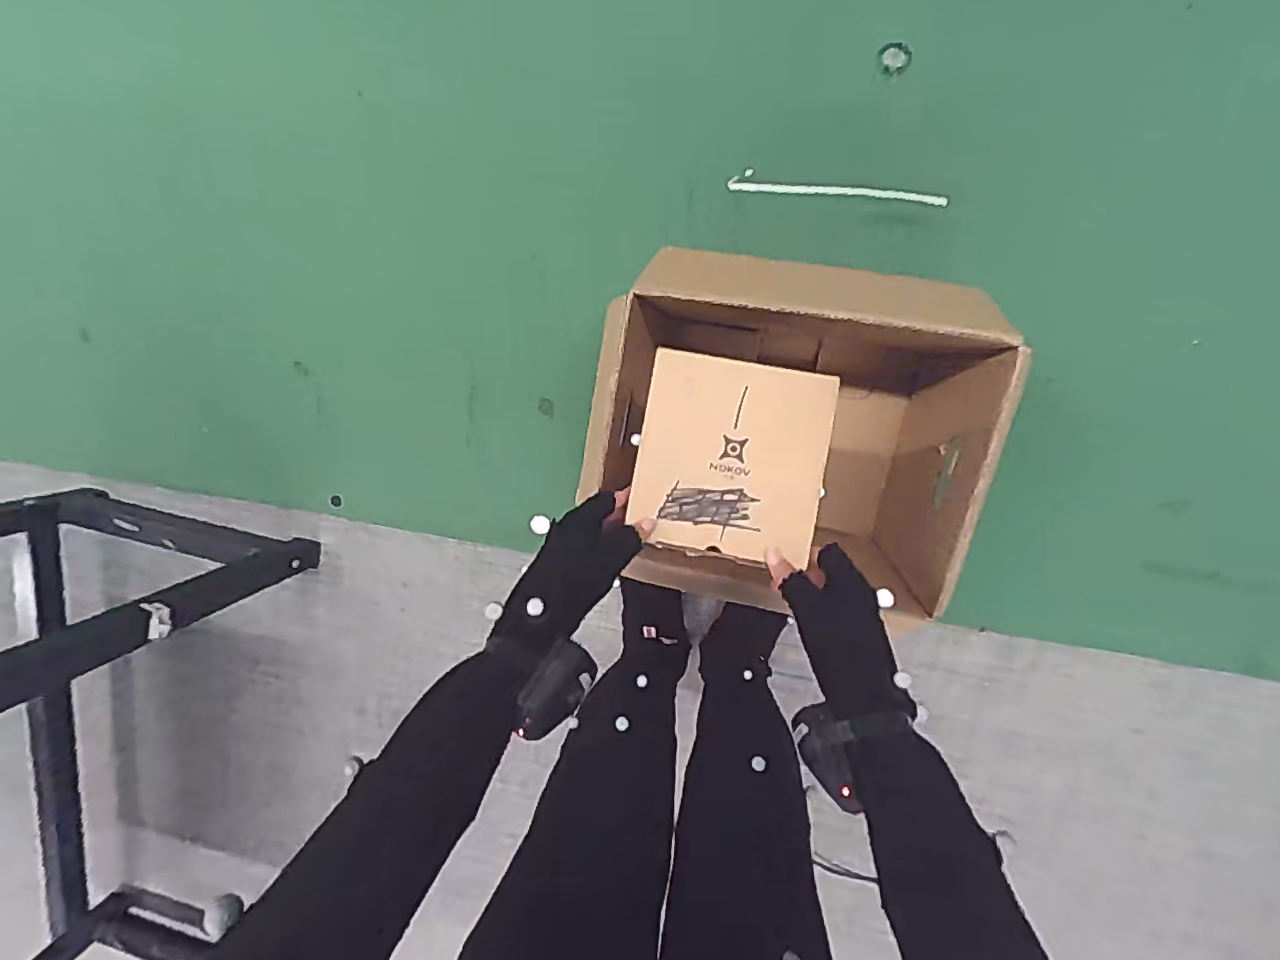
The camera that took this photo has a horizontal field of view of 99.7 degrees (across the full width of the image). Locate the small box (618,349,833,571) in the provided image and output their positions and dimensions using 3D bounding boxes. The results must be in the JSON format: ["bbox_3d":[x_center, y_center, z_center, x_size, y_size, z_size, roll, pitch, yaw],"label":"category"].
[{"bbox_3d":[0.081,-0.016,0.563,0.168,0.176,0.179,11,88,4],"label":"small box"}]
